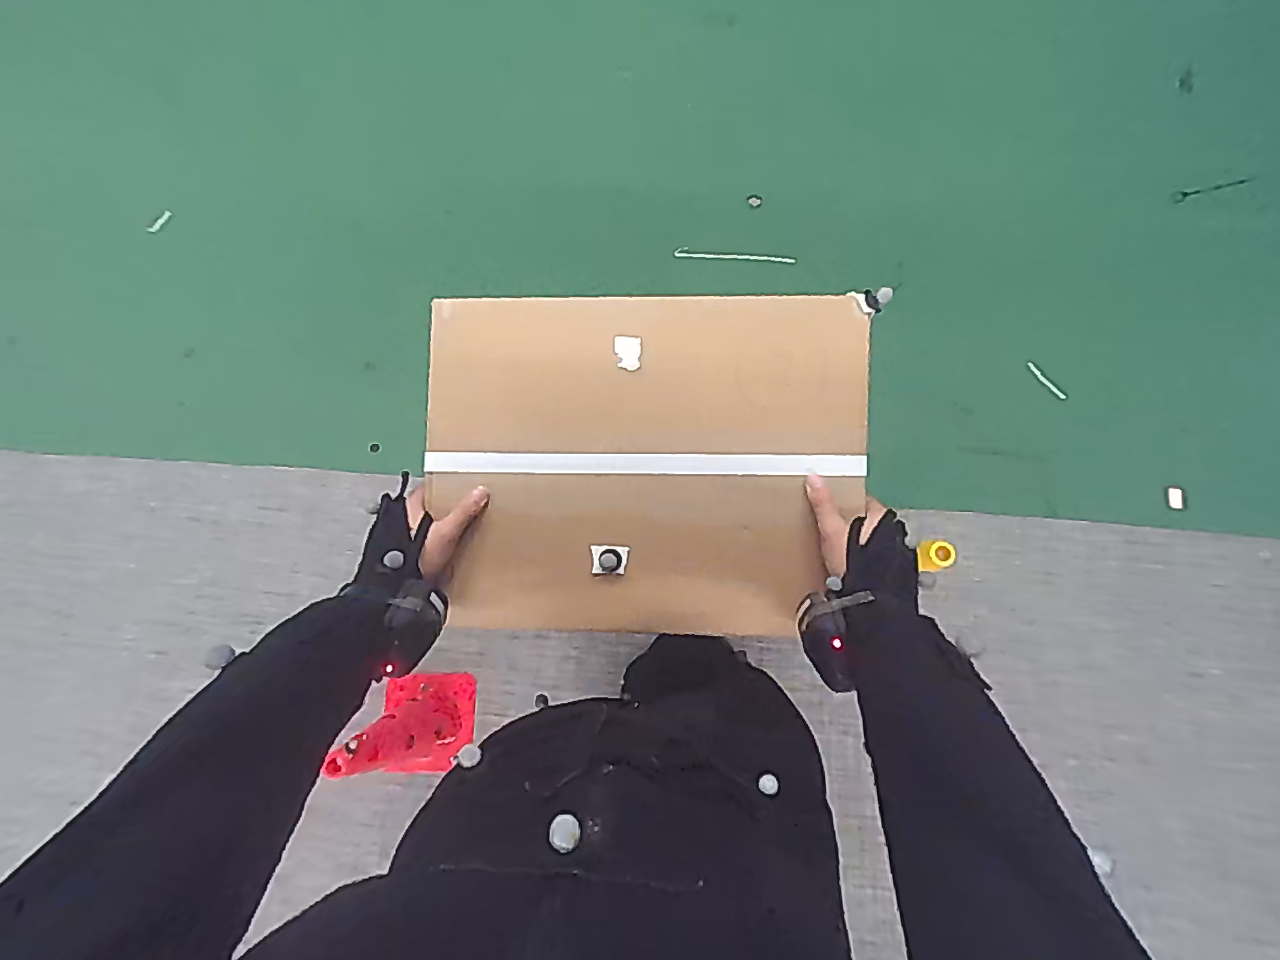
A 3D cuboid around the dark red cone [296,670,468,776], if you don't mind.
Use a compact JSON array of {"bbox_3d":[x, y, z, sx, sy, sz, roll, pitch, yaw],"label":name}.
[{"bbox_3d":[-0.475,0.463,0.985,0.202,0.394,0.201,-4,73,3],"label":"dark red cone"}]
